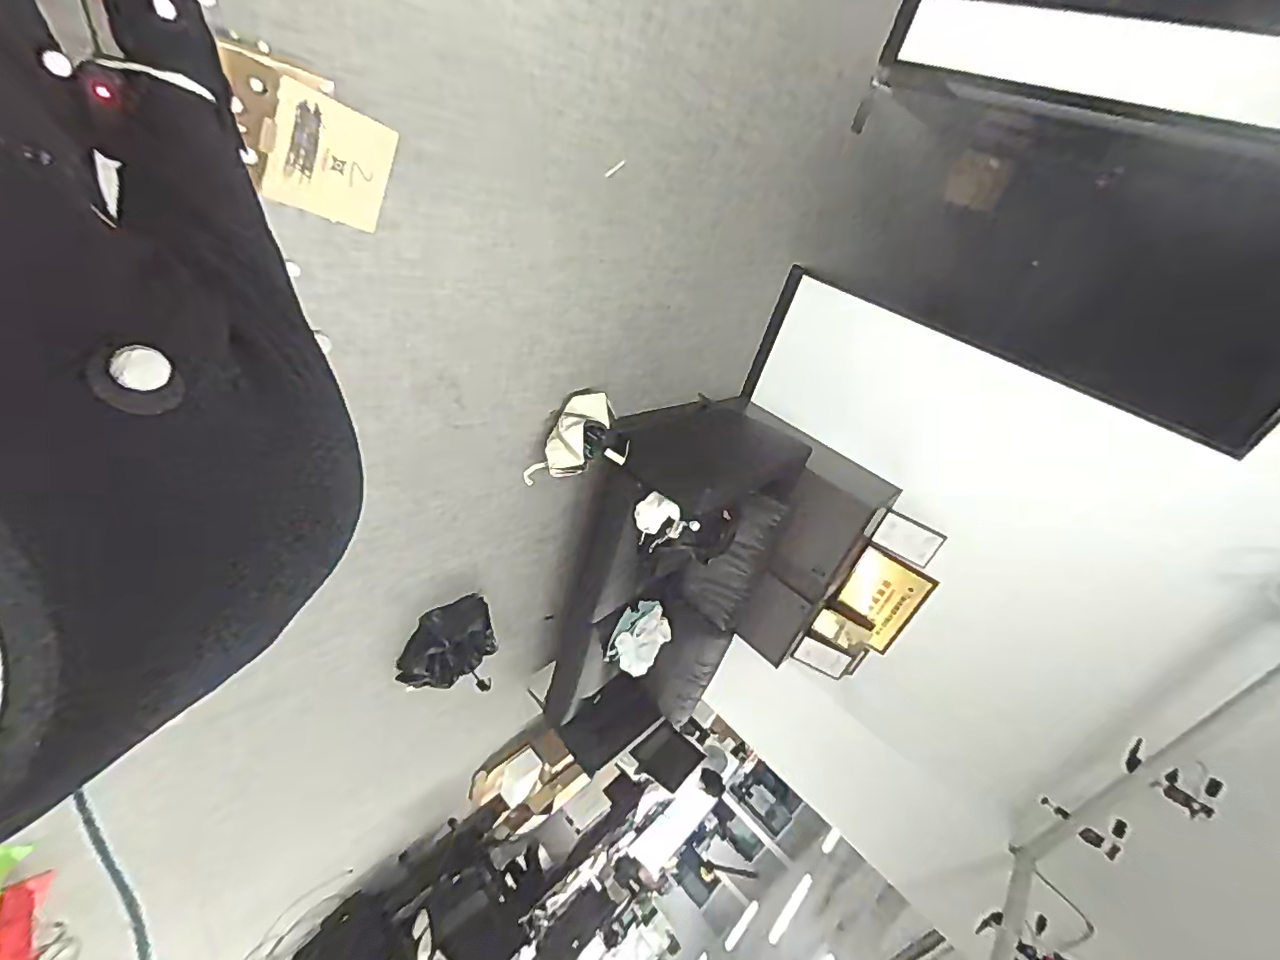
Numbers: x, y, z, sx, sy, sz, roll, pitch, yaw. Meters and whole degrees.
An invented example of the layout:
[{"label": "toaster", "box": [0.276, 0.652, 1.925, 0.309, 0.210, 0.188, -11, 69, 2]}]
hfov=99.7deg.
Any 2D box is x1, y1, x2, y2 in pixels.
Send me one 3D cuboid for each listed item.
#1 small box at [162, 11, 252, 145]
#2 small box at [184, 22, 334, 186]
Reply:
[{"label": "small box", "box": [-0.752, -0.714, 0.996, 0.168, 0.176, 0.179, -13, 134, -50]}, {"label": "small box", "box": [-0.649, -0.637, 0.923, 0.168, 0.176, 0.179, -16, 136, -49]}]
